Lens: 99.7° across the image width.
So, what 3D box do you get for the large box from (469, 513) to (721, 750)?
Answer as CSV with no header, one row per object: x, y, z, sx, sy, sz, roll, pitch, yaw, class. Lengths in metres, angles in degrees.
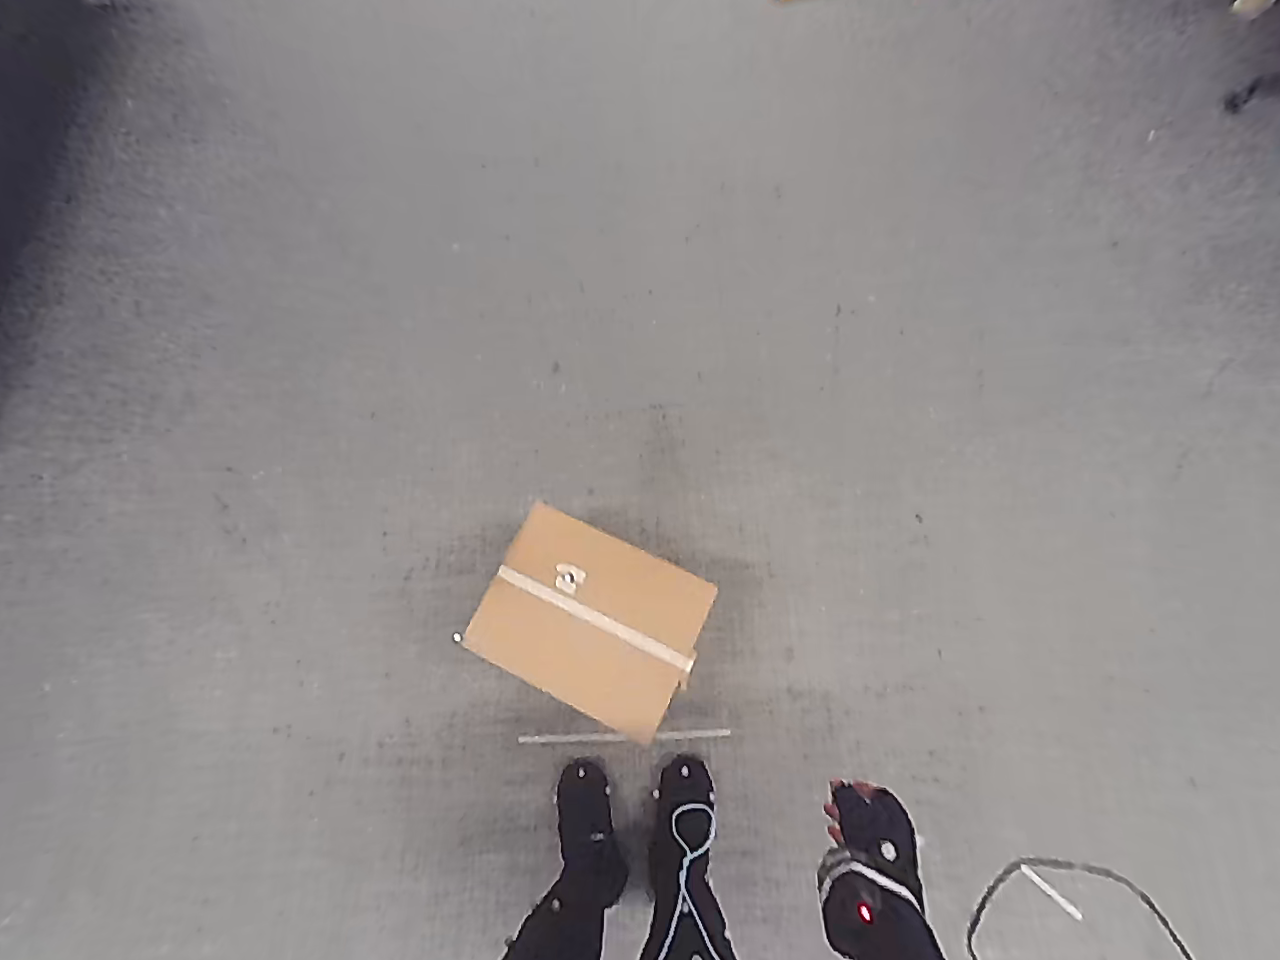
-0.073,0.317,1.166,0.408,0.320,0.320,23,75,12,large box
